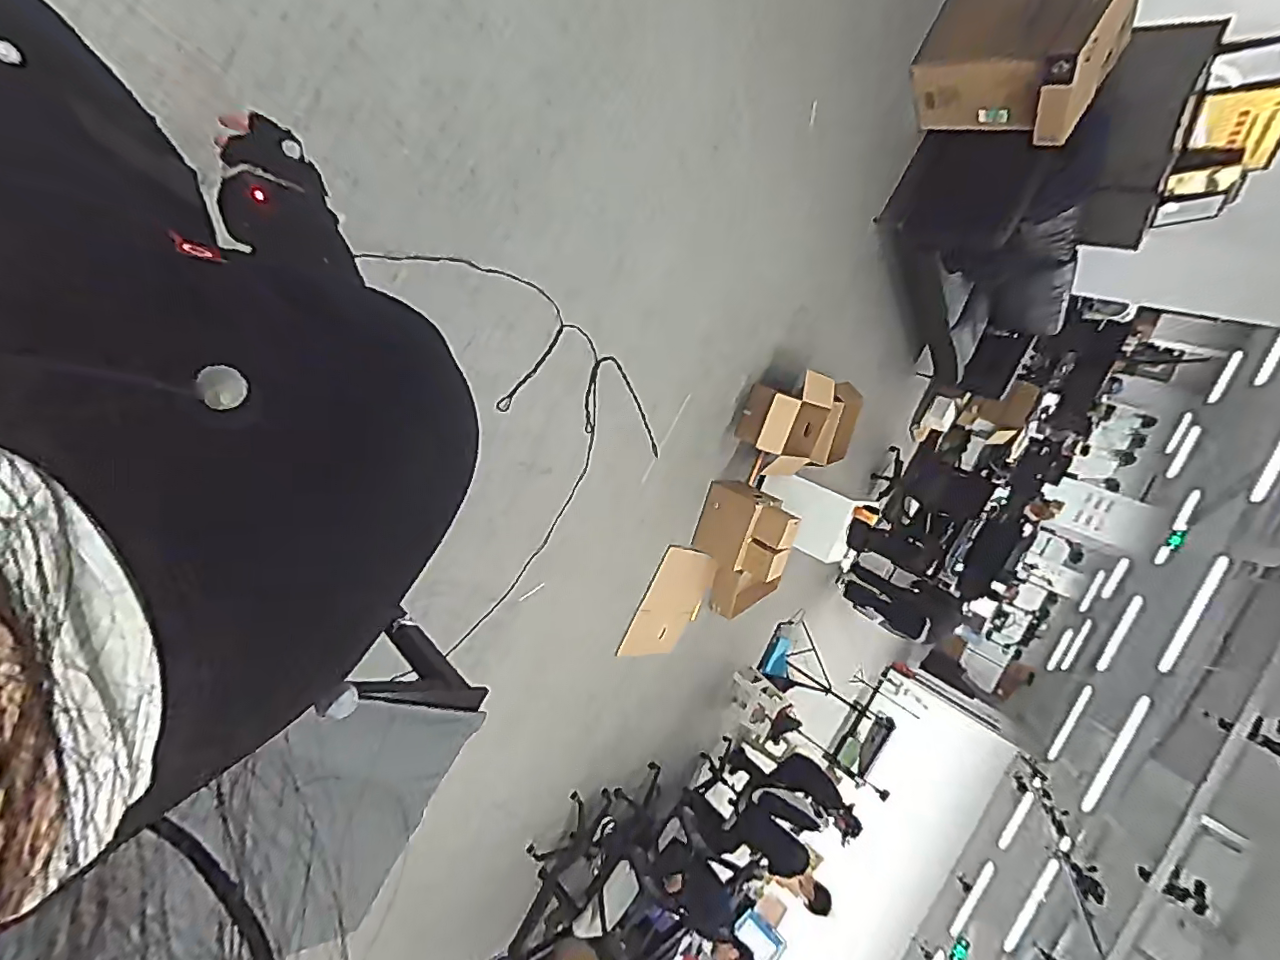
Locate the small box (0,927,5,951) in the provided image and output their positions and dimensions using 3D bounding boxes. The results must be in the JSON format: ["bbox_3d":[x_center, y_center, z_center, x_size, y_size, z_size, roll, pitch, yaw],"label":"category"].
[{"bbox_3d":[-0.788,0.483,0.533,0.179,0.176,0.168,-60,145,-1],"label":"small box"}]
